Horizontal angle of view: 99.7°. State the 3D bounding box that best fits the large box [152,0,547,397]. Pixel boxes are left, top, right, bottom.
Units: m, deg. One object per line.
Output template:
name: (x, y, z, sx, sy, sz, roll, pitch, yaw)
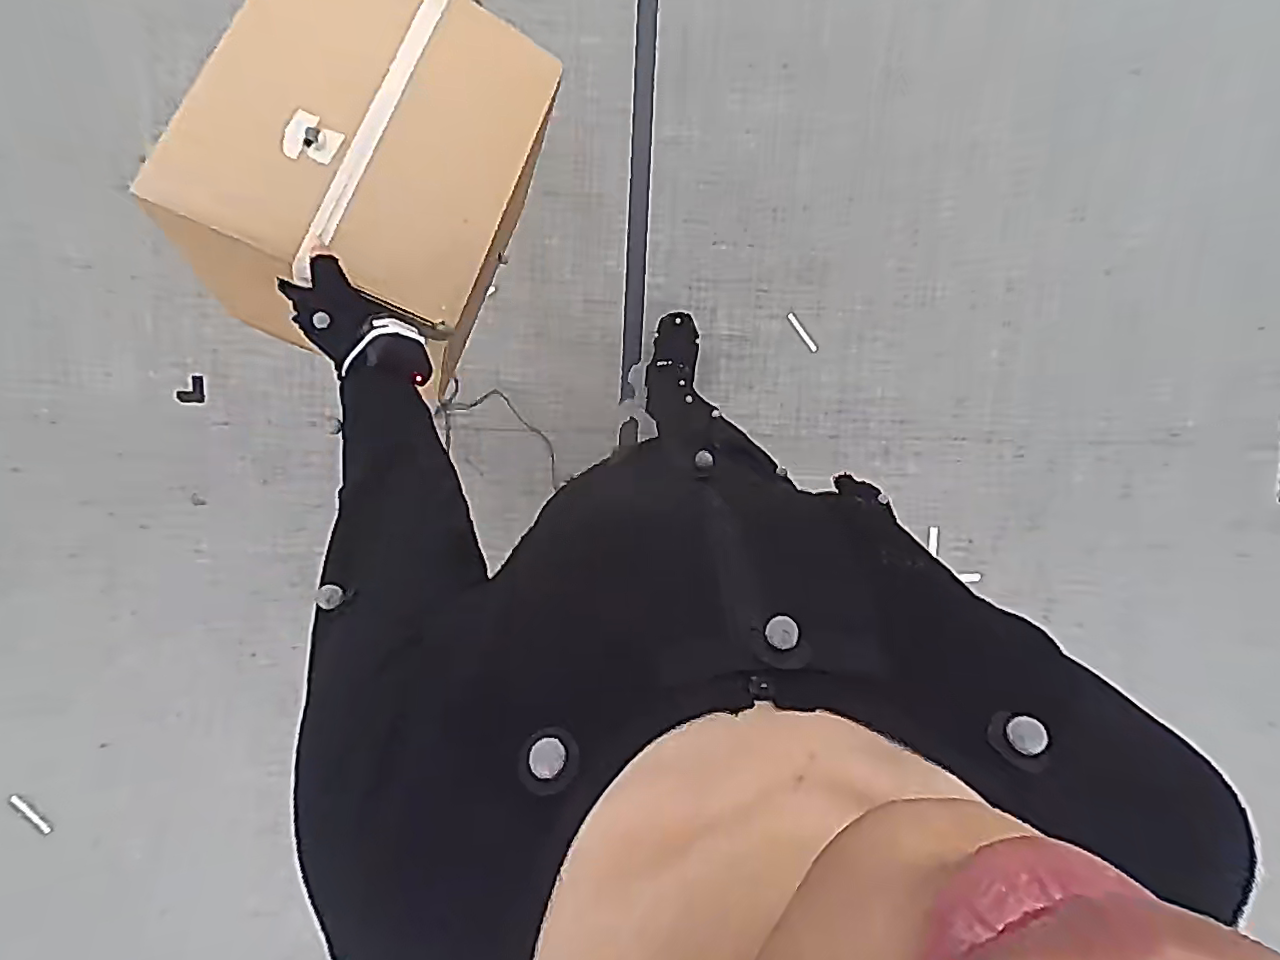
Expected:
large box: (-0.361, -0.387, 0.769, 0.320, 0.320, 0.408, 20, 76, -17)
